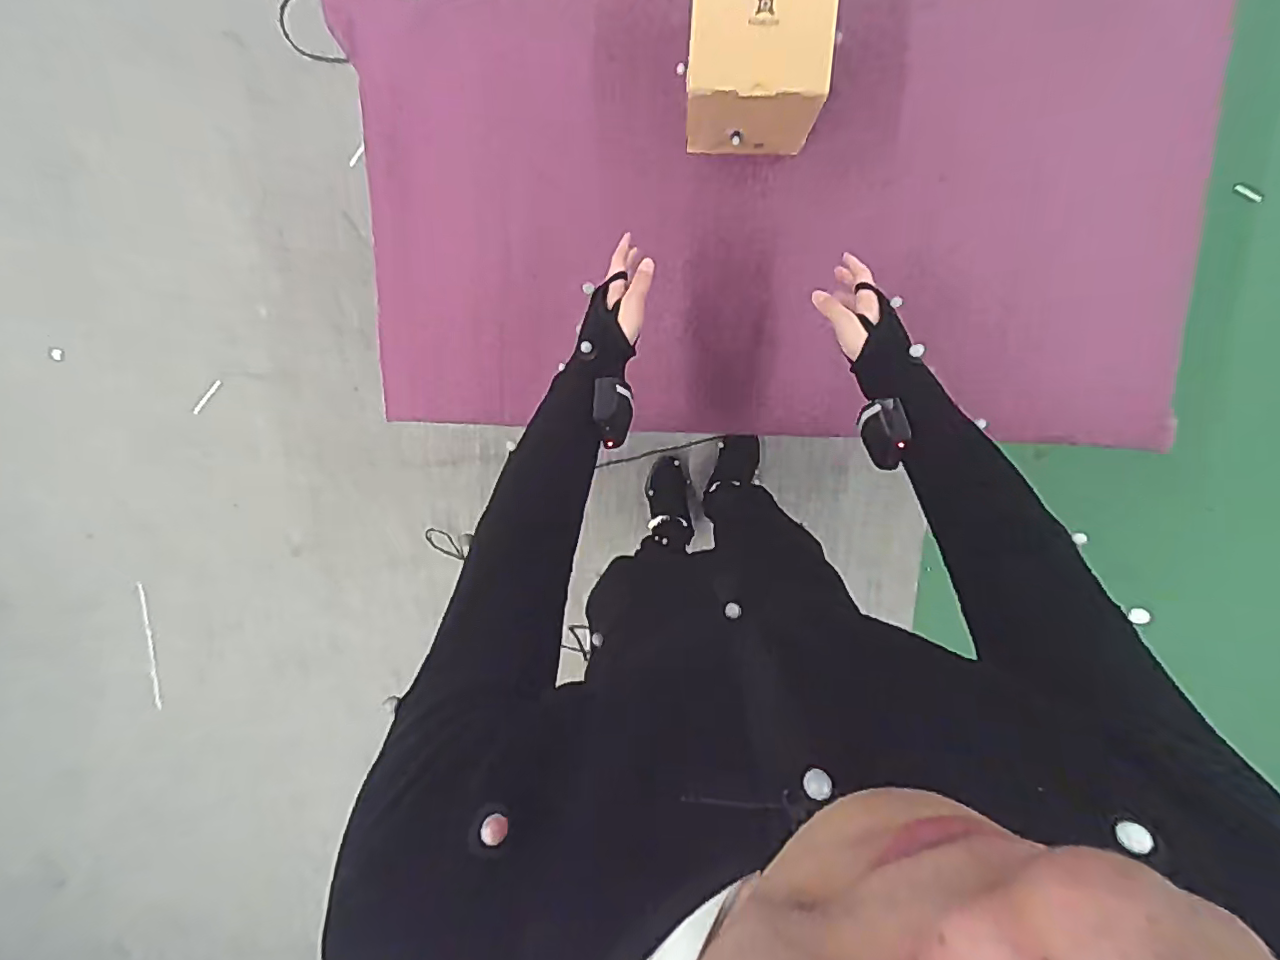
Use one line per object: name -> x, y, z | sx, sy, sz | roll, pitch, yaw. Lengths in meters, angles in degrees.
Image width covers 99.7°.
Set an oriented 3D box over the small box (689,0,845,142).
small box -> 0.150, -0.557, 0.678 | 0.168, 0.176, 0.179 | 3, 102, 3
